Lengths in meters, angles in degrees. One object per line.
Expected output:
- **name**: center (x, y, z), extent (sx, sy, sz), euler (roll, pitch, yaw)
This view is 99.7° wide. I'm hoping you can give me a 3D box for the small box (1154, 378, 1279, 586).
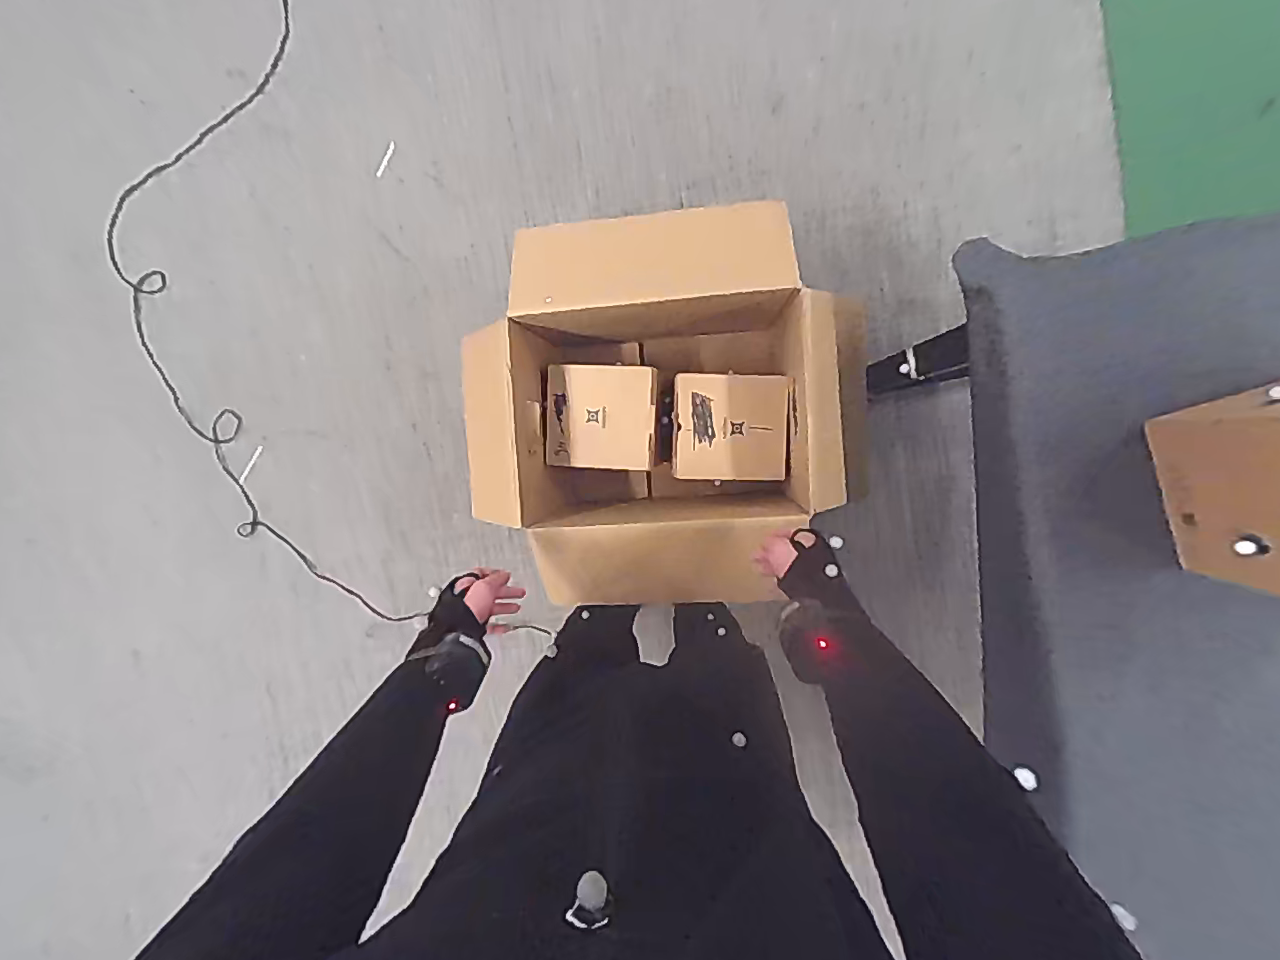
- **small box**: center (0.619, -0.004, 0.482), extent (0.179, 0.176, 0.168), euler (-18, 94, 5)
